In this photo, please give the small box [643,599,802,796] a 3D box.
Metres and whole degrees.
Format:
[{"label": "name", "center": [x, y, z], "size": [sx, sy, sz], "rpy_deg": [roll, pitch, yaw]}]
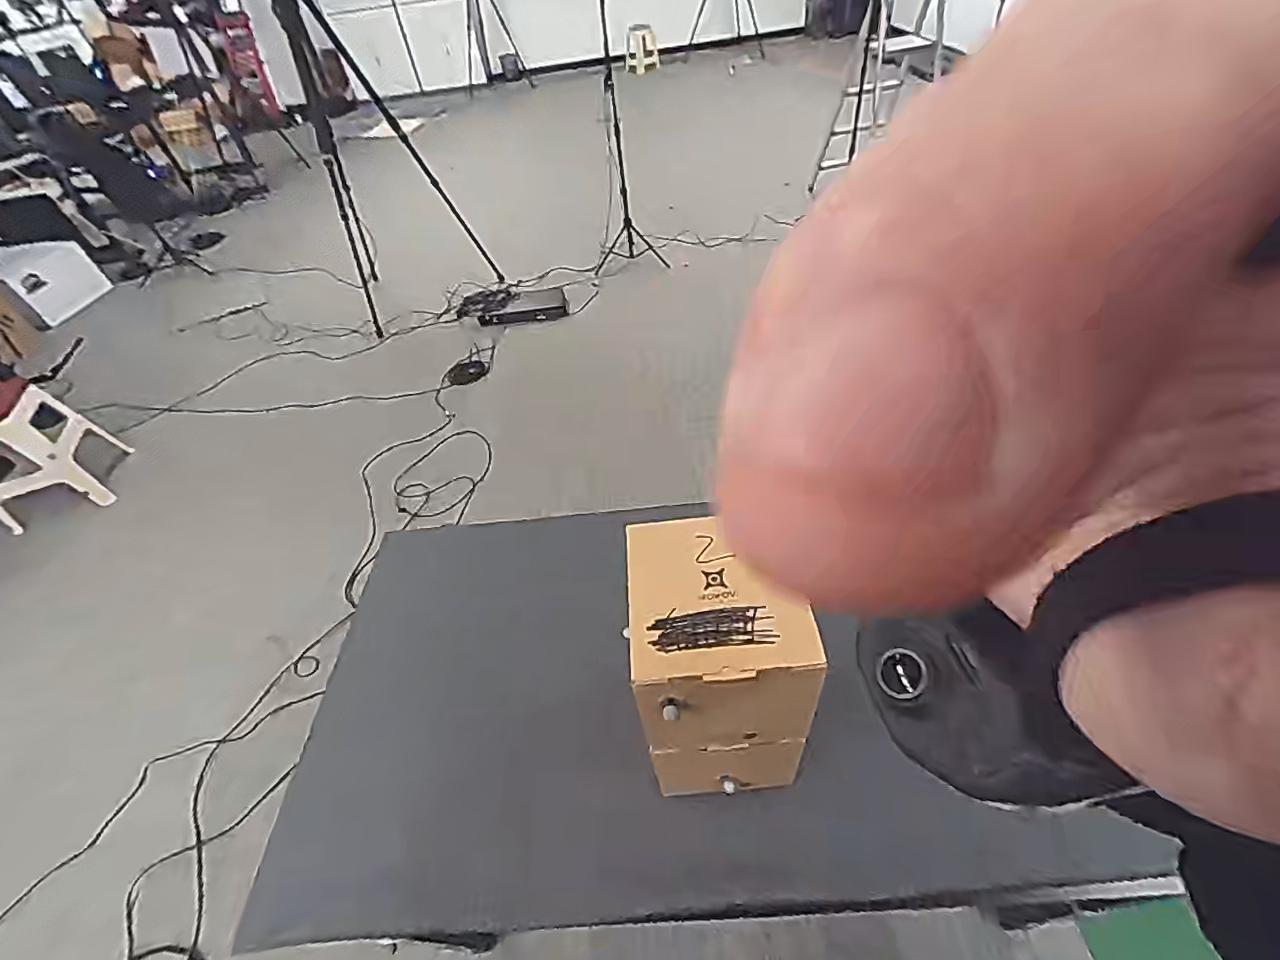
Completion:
[{"label": "small box", "center": [0.094, 0.276, 0.686], "size": [0.168, 0.176, 0.179], "rpy_deg": [-6, 46, 2]}]
